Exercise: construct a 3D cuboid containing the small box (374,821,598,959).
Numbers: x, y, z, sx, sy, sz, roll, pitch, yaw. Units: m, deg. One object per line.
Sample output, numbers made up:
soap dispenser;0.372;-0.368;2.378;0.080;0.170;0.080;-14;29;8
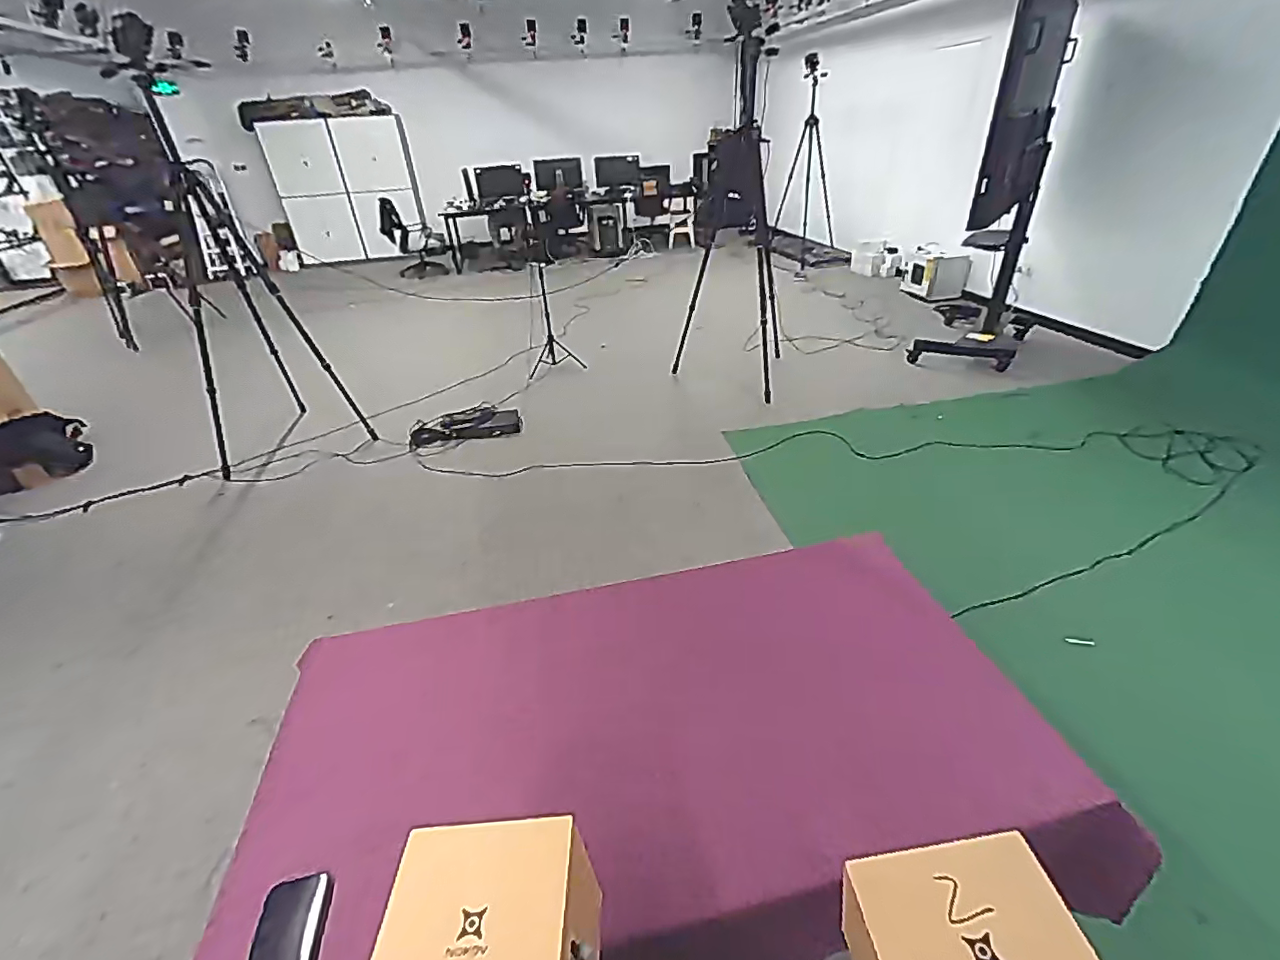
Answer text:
small box;-0.135;0.458;0.509;0.168;0.176;0.179;-6;33;3
